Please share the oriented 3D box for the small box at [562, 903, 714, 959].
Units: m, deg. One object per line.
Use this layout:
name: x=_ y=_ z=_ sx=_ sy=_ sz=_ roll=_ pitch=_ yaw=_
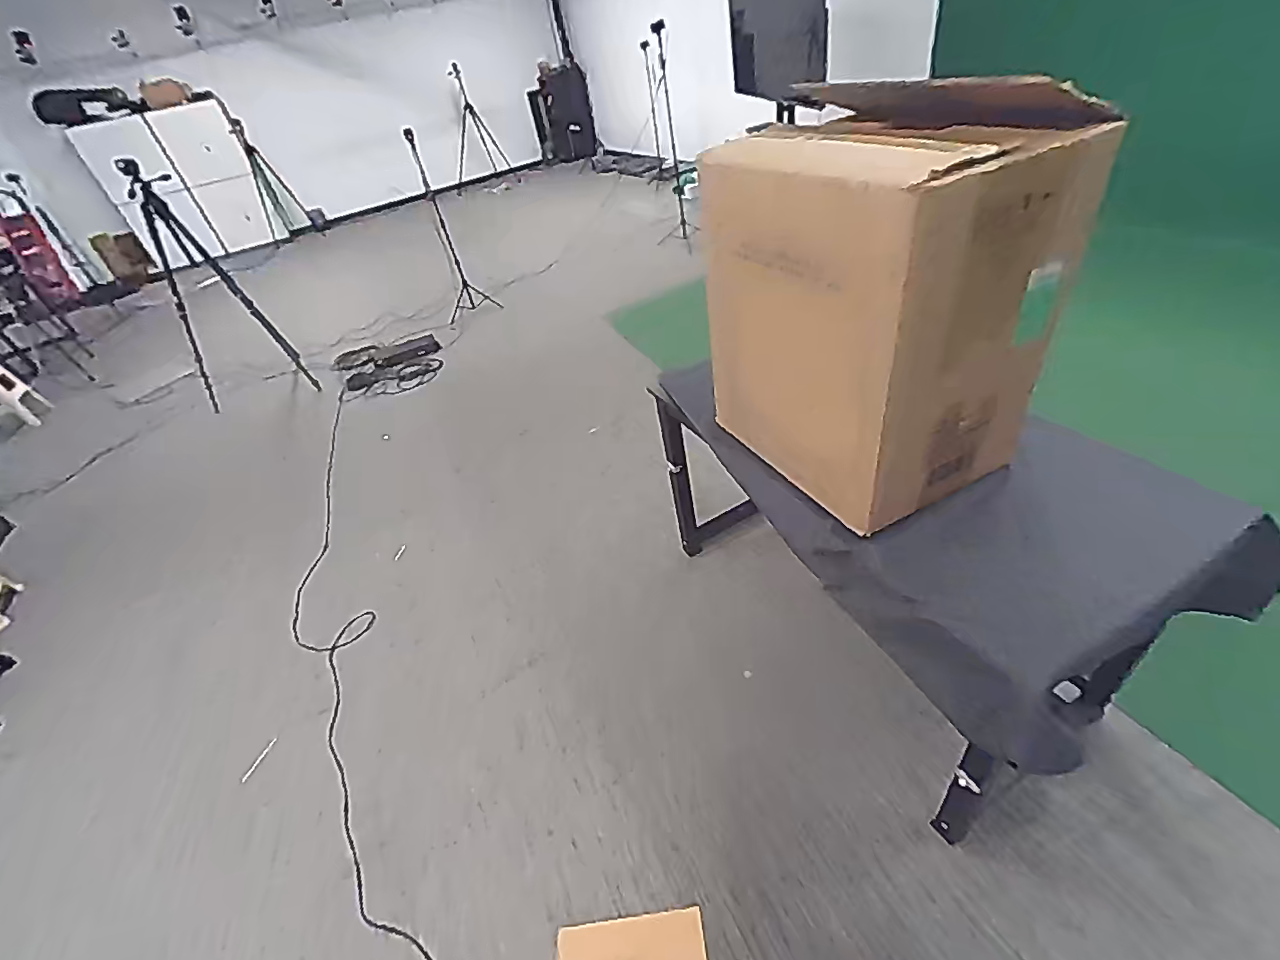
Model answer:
small box: x=0.010 y=0.606 z=0.580 sx=0.168 sy=0.176 sz=0.179 roll=-9 pitch=27 yaw=0
